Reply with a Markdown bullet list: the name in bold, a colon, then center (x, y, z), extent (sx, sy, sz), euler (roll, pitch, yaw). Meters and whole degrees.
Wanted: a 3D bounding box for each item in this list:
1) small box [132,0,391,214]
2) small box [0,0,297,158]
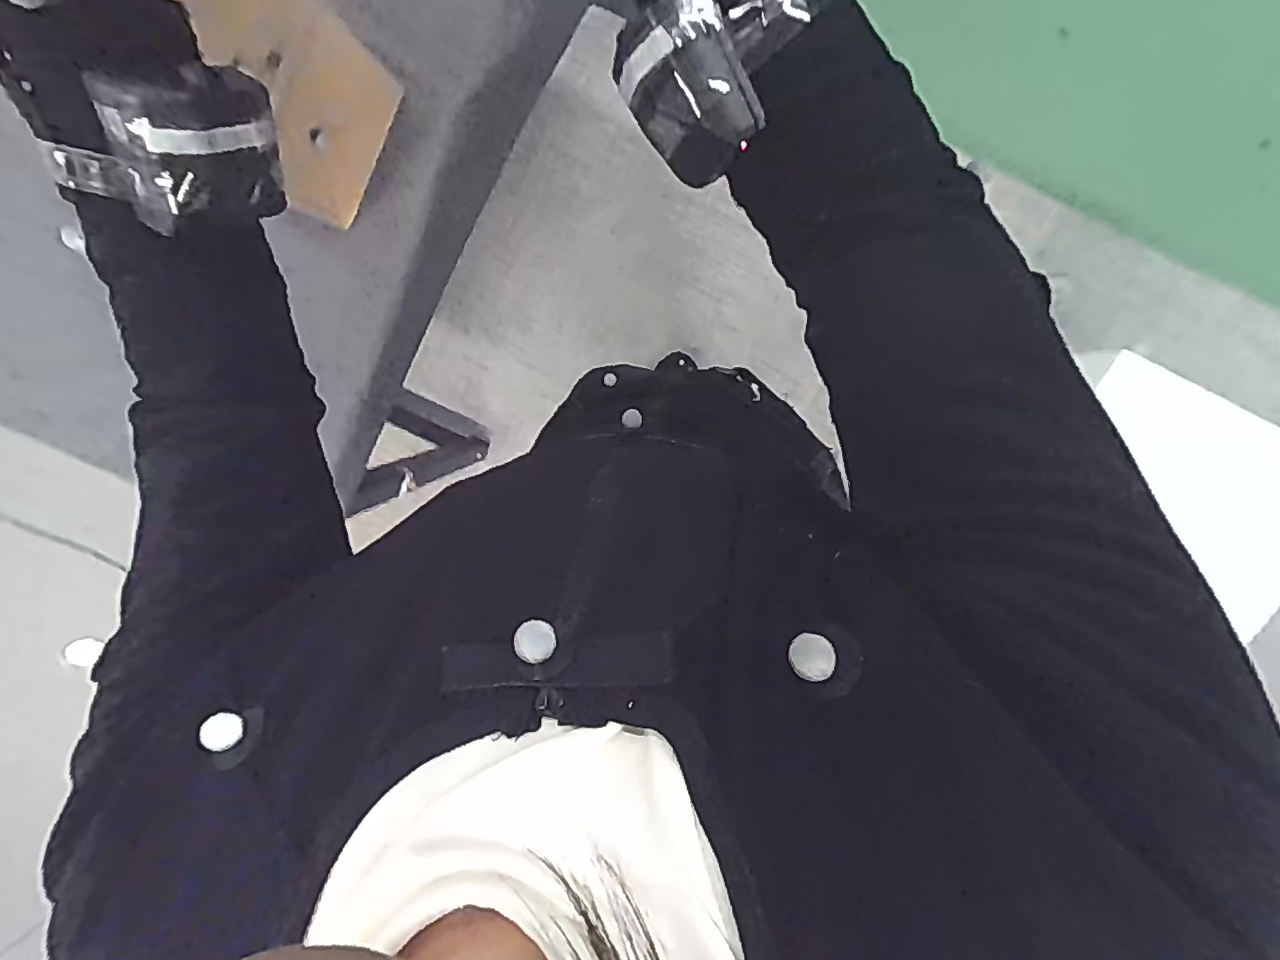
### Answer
- **small box**: center (-0.396, -0.411, 0.562), extent (0.168, 0.176, 0.179), euler (29, 104, 0)
- **small box**: center (-0.410, -0.378, 0.401), extent (0.179, 0.176, 0.168), euler (27, 103, 2)
